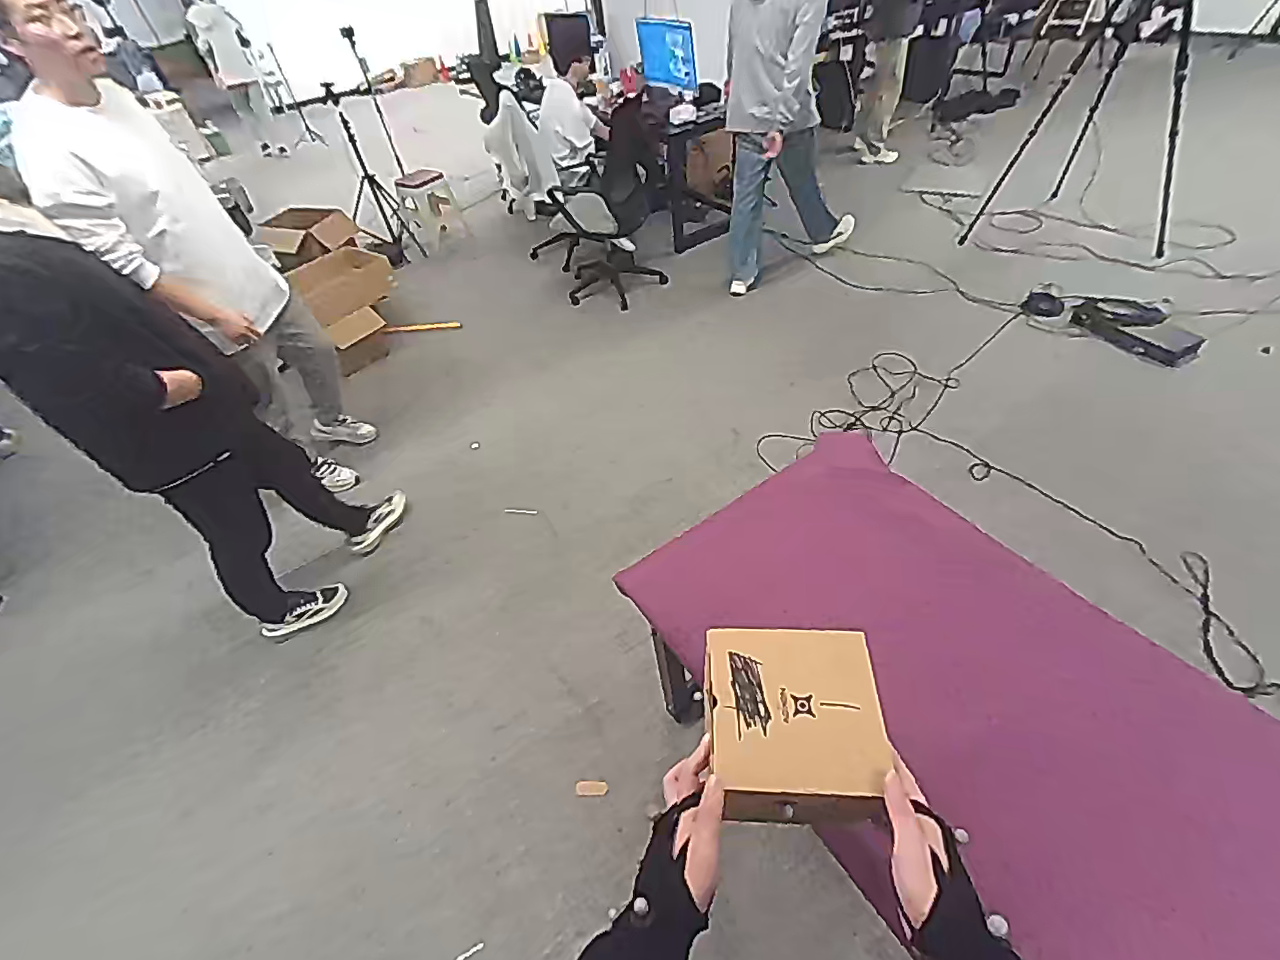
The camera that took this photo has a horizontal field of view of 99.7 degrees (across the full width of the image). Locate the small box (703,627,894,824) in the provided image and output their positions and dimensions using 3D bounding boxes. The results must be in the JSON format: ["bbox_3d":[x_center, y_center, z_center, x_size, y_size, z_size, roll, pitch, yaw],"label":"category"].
[{"bbox_3d":[0.160,0.282,0.618,0.179,0.176,0.168,0,50,4],"label":"small box"}]
